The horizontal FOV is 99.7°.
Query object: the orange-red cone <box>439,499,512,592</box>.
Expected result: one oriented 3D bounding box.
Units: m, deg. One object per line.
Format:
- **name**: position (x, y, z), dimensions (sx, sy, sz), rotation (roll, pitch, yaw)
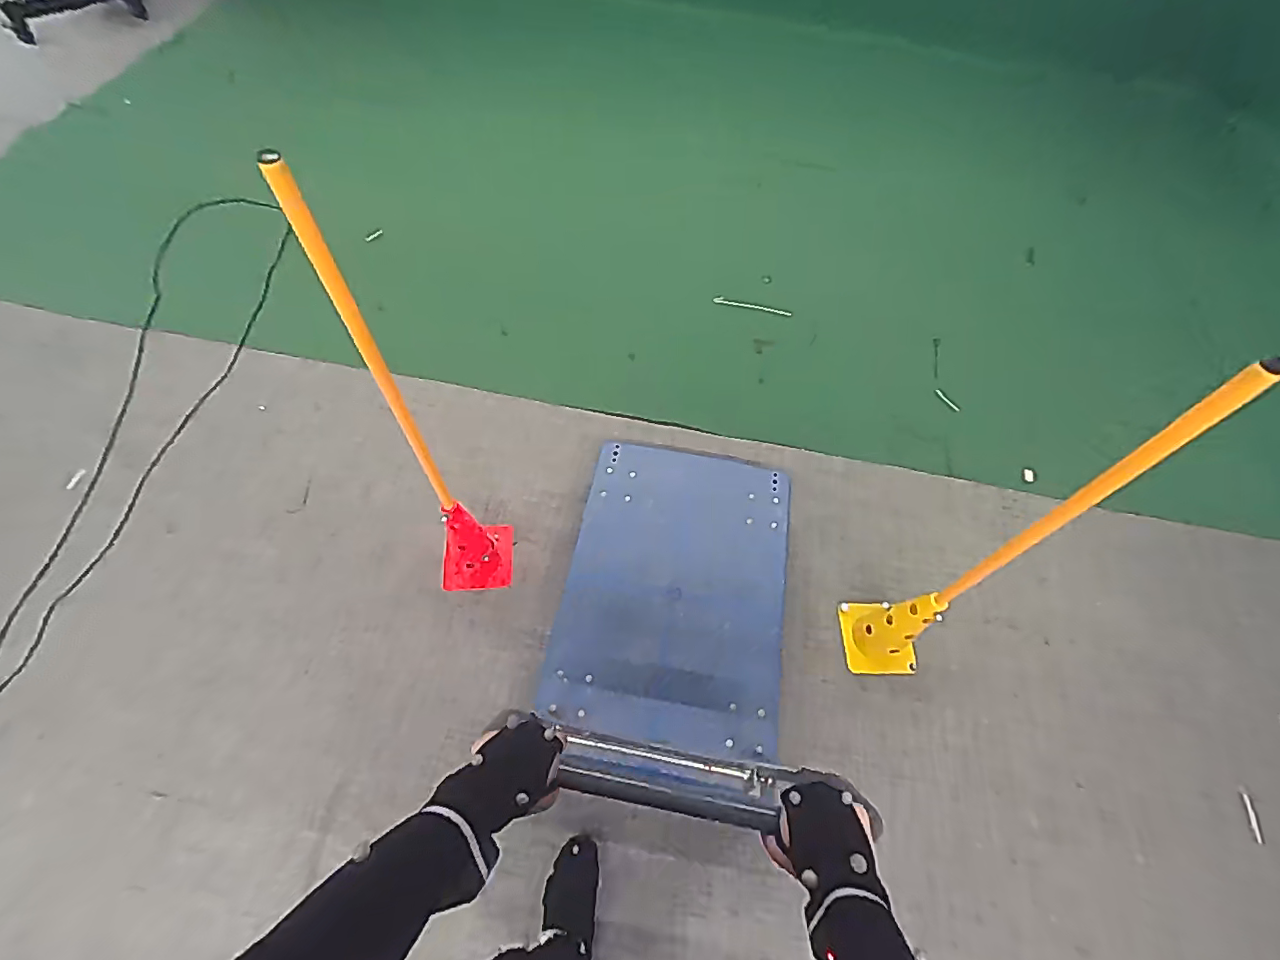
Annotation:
- **orange-red cone**: position (-0.477, 0.149, 1.453), dimensions (0.199, 0.360, 0.198), rotation (-2, 60, -3)
